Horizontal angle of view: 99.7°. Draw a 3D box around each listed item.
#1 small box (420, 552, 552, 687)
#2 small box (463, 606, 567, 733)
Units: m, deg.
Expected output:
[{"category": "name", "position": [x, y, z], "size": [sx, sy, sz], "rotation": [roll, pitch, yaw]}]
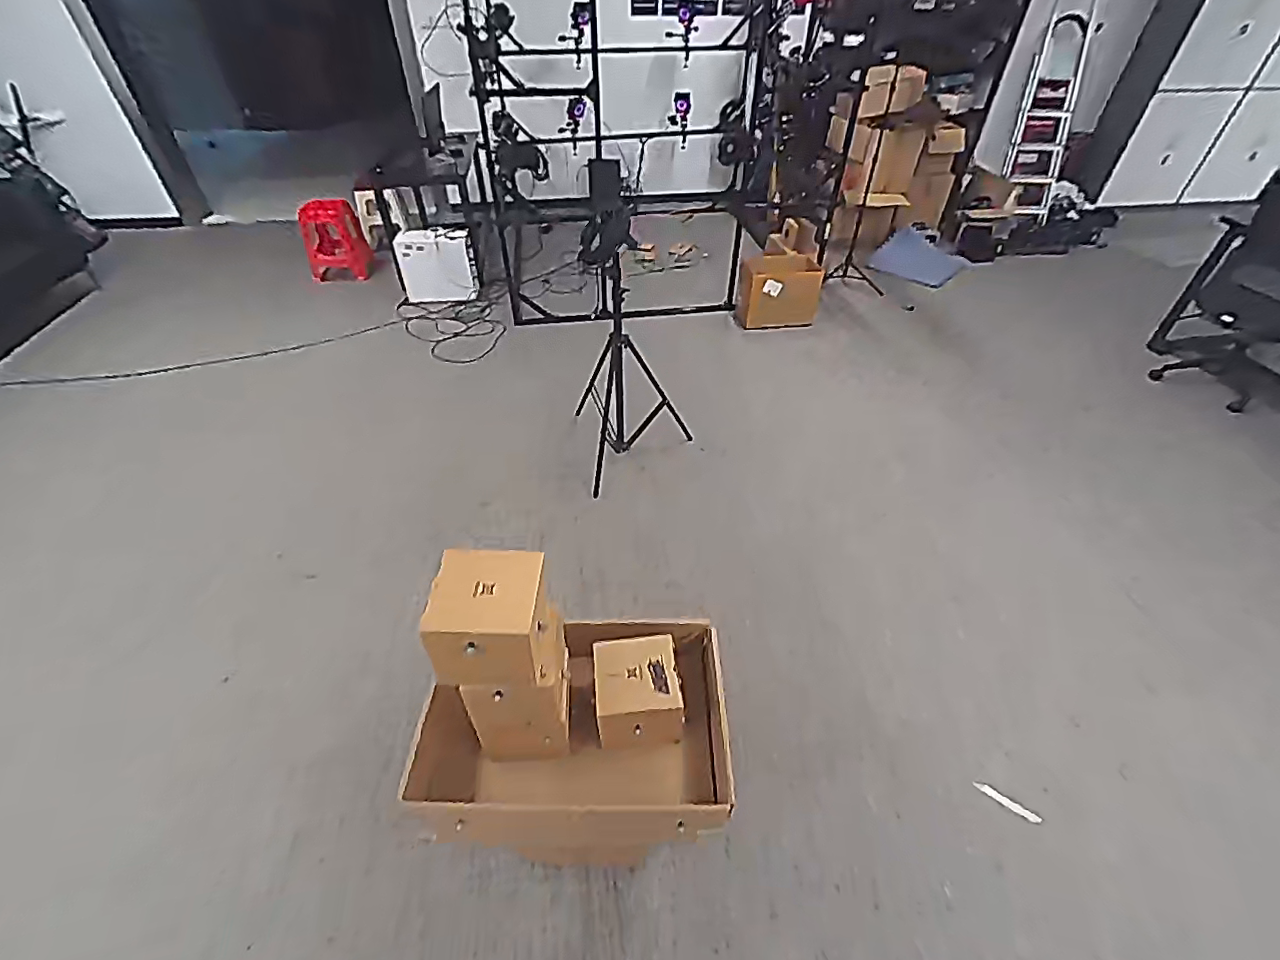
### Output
[{"category": "small box", "position": [-0.252, 0.243, 0.937], "size": [0.179, 0.176, 0.168], "rotation": [1, 42, -1]}, {"category": "small box", "position": [-0.231, 0.364, 1.046], "size": [0.168, 0.176, 0.179], "rotation": [-1, 41, -3]}]
